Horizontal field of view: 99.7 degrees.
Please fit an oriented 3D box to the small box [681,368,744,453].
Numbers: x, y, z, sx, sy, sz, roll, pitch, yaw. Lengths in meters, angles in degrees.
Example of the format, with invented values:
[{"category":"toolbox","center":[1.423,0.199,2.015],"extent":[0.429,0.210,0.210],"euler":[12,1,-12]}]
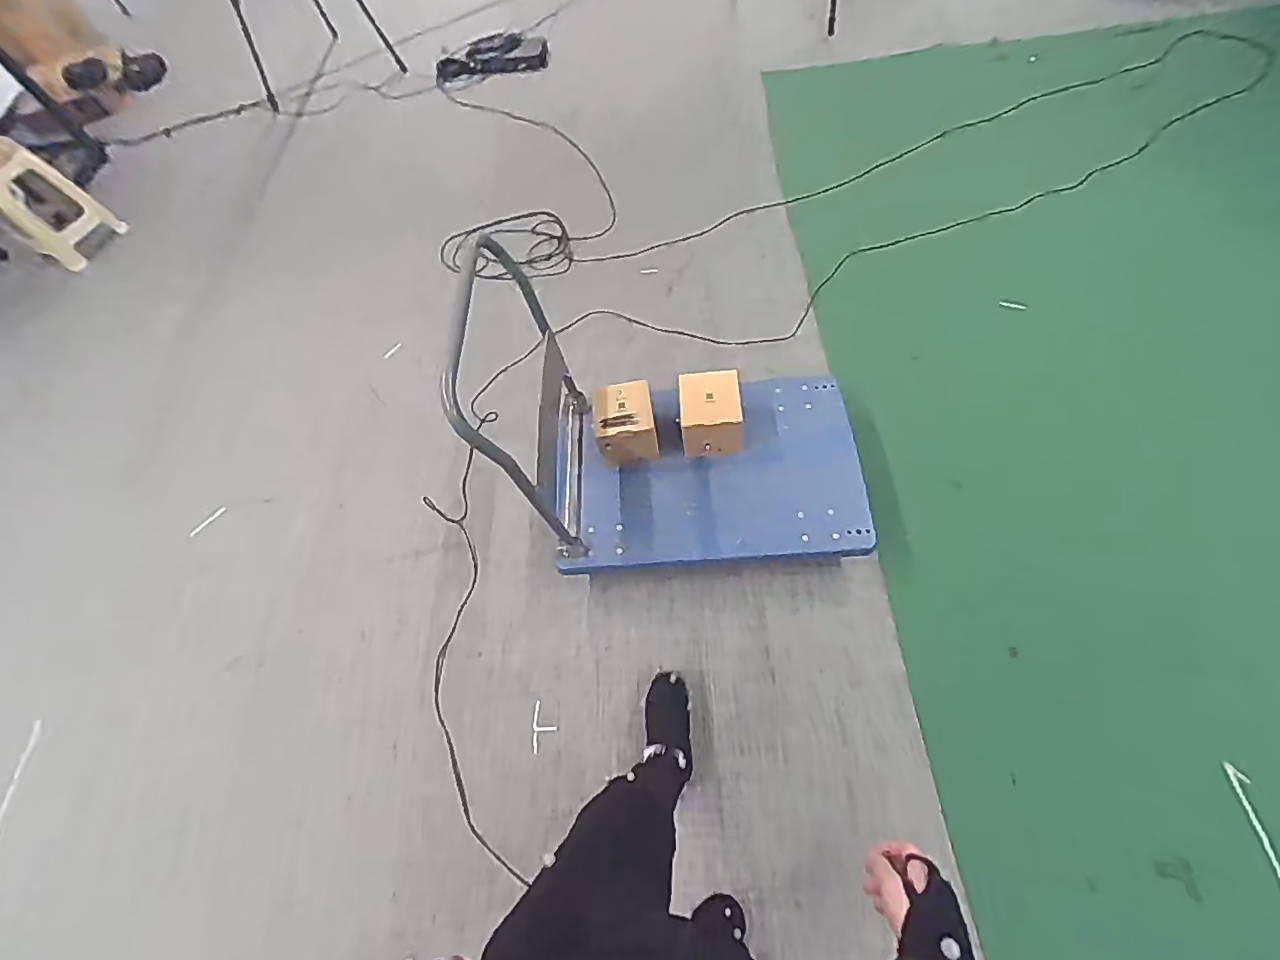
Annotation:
[{"category":"small box","center":[0.203,-0.196,1.548],"extent":[0.168,0.176,0.179],"euler":[-4,63,5]}]
